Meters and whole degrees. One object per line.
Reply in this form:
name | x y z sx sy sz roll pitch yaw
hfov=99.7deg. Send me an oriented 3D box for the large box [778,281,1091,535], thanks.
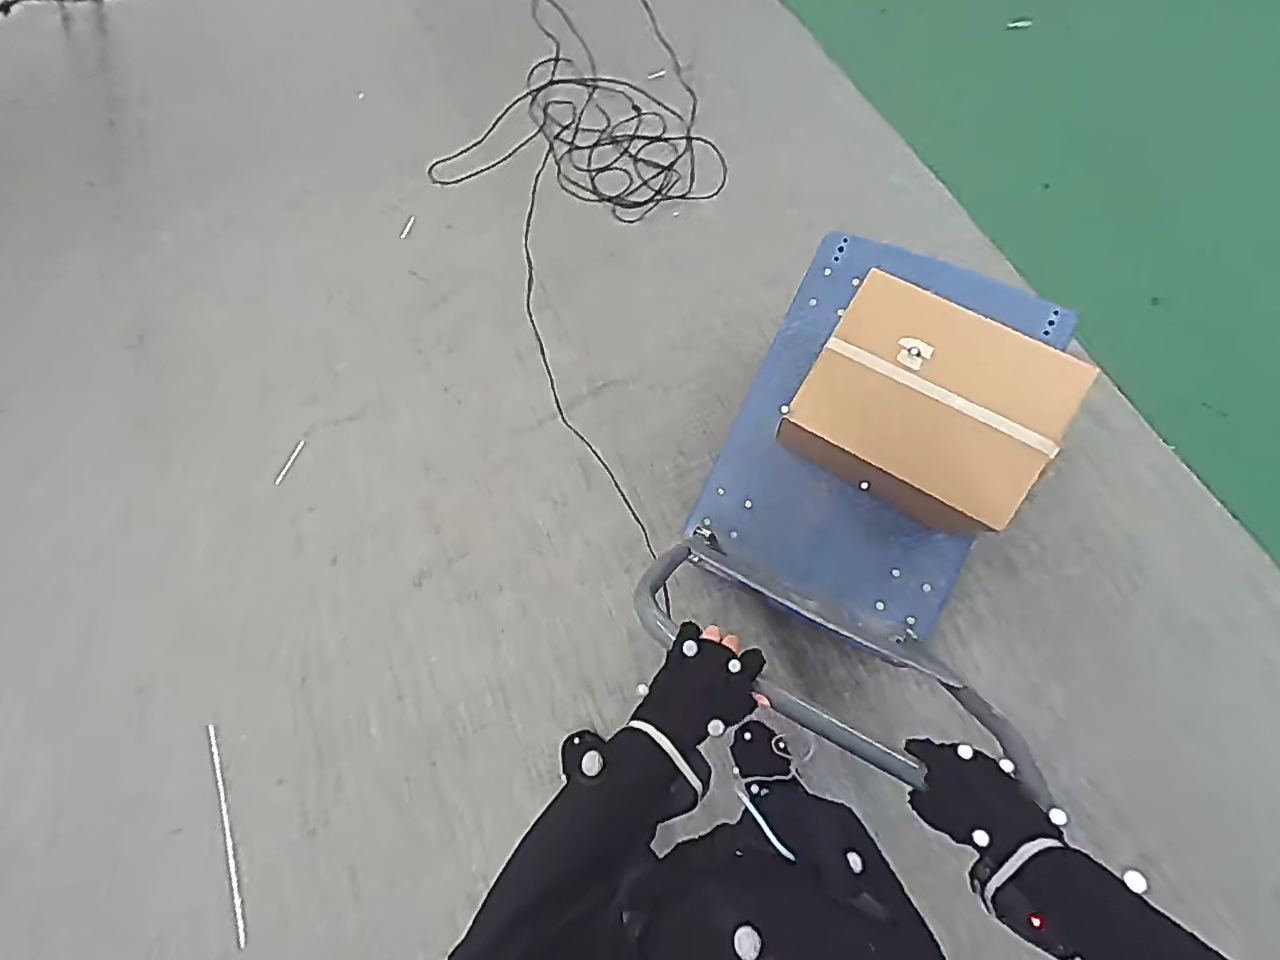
large box | 0.532 -0.121 1.077 0.408 0.320 0.320 32 91 13
